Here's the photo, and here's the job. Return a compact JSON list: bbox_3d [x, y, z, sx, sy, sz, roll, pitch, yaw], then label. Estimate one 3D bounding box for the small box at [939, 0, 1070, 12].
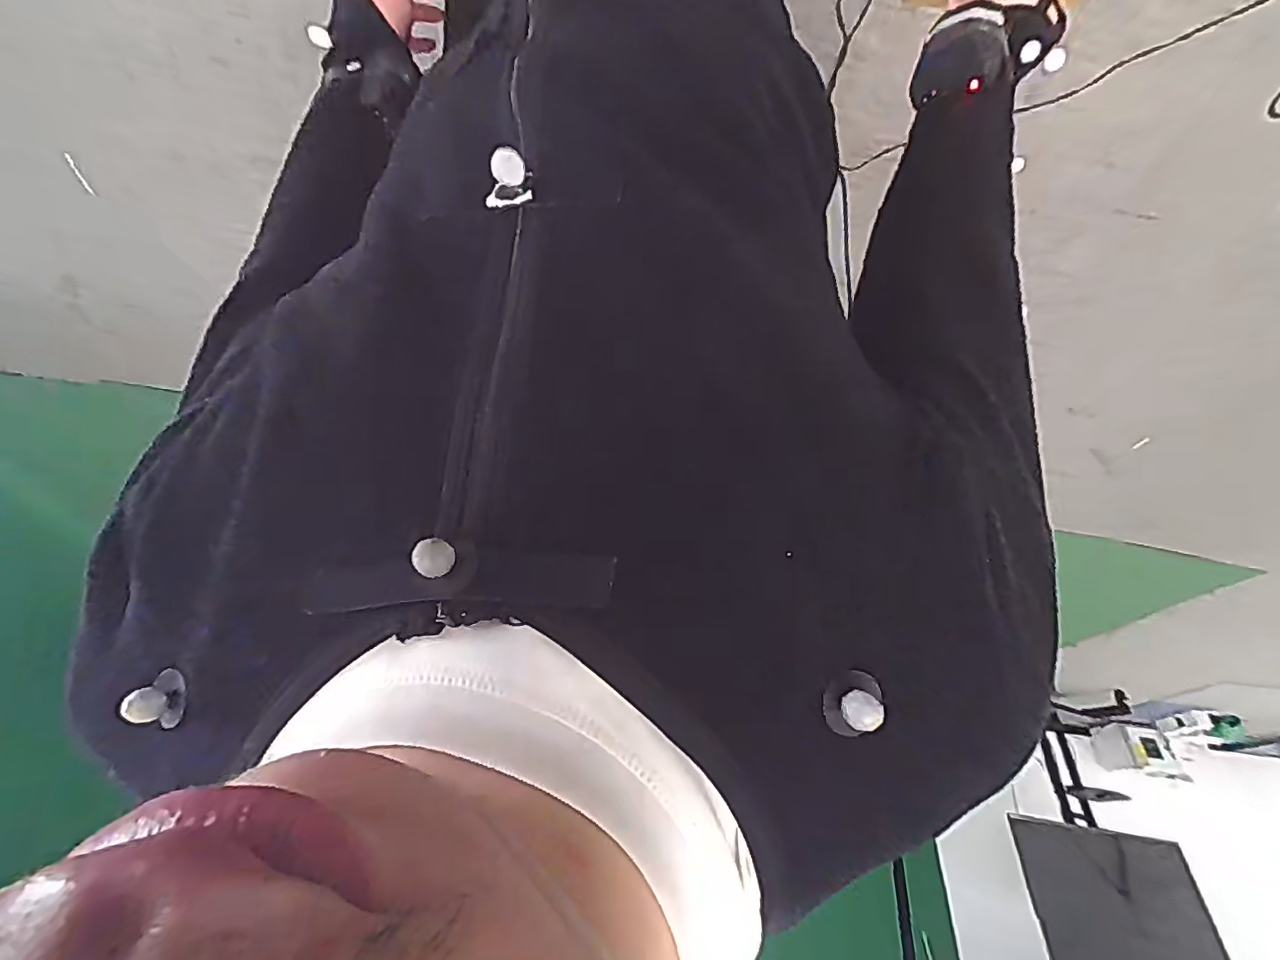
[{"bbox_3d":[0.355,-0.548,0.475,0.168,0.176,0.179,15,119,11],"label":"small box"}]
